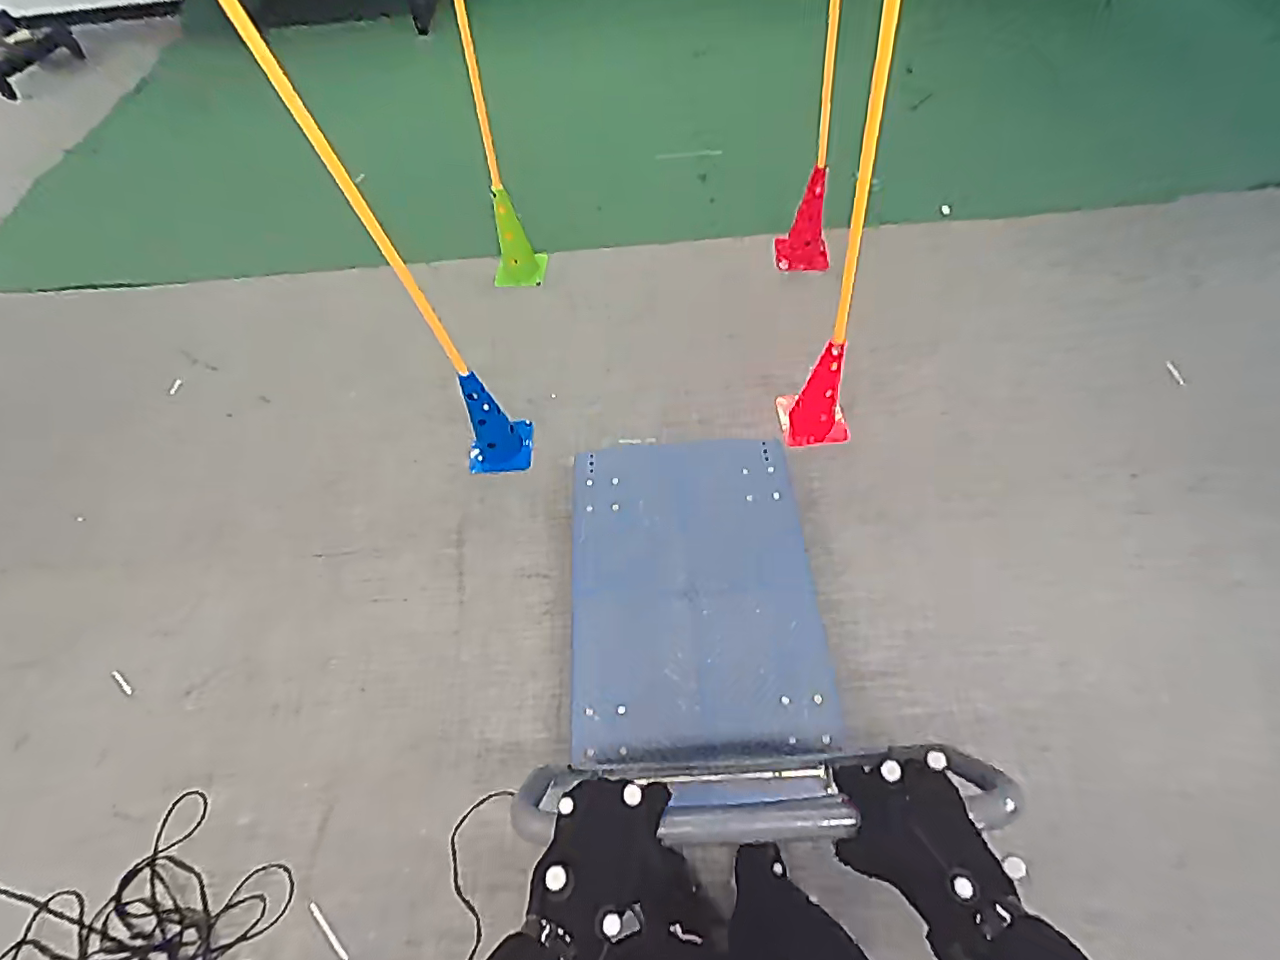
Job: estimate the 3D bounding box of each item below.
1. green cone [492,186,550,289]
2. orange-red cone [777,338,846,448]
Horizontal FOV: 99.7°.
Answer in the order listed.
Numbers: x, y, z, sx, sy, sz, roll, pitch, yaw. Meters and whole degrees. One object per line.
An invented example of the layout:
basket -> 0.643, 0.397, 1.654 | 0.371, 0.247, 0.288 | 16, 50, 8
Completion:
green cone -> -0.493, -0.950, 2.084 | 0.202, 0.368, 0.200 | 0, 59, 5
orange-red cone -> 0.540, -0.278, 1.611 | 0.199, 0.360, 0.198 | -5, 58, 3
